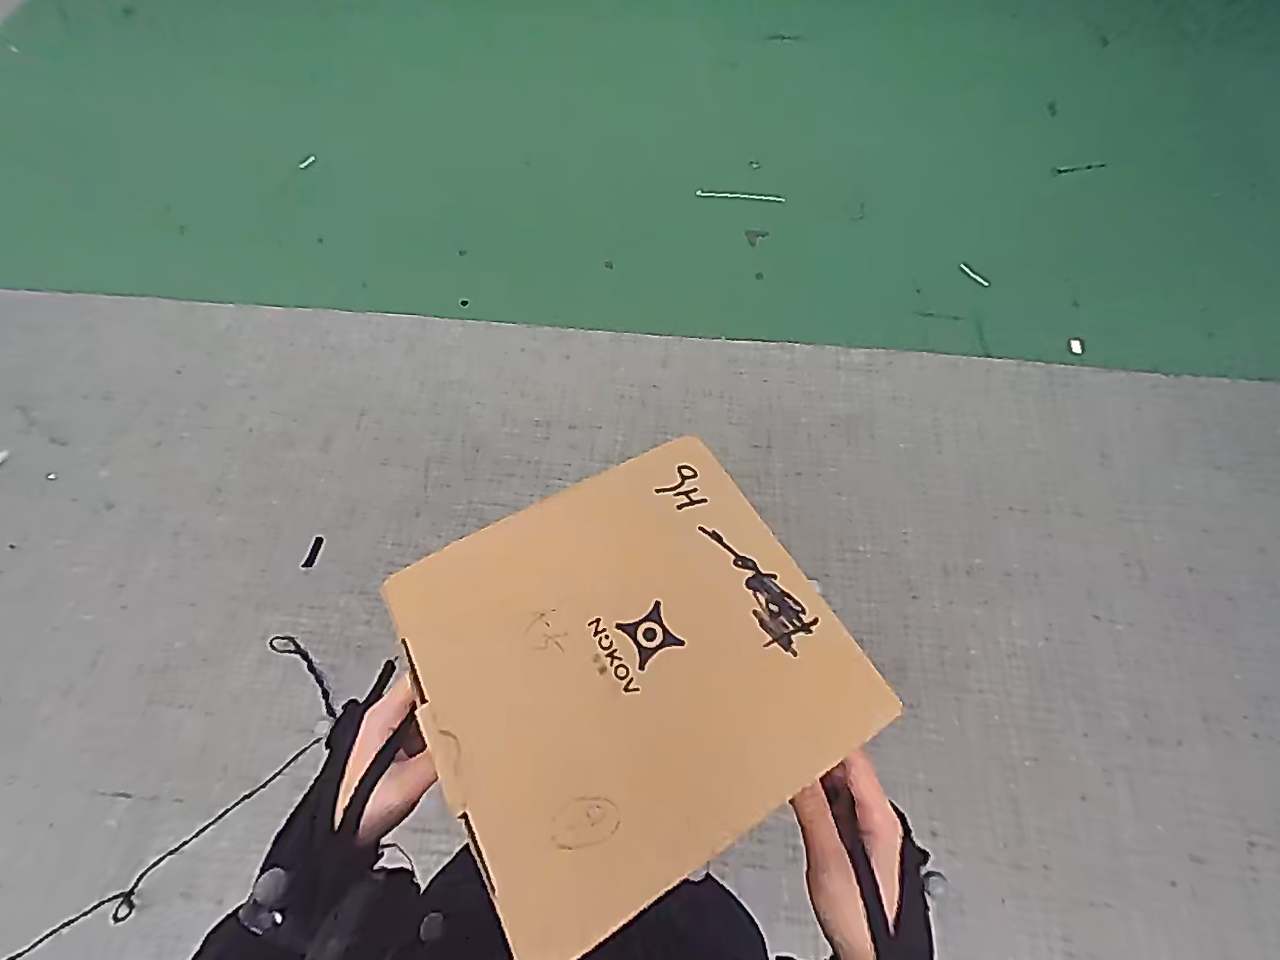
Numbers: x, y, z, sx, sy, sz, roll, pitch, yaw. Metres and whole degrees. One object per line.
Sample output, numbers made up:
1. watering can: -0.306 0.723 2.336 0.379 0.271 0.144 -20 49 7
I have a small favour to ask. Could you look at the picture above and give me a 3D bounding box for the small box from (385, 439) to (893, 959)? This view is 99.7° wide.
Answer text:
1. small box: -0.006 0.114 0.306 0.179 0.176 0.168 -26 64 -16
